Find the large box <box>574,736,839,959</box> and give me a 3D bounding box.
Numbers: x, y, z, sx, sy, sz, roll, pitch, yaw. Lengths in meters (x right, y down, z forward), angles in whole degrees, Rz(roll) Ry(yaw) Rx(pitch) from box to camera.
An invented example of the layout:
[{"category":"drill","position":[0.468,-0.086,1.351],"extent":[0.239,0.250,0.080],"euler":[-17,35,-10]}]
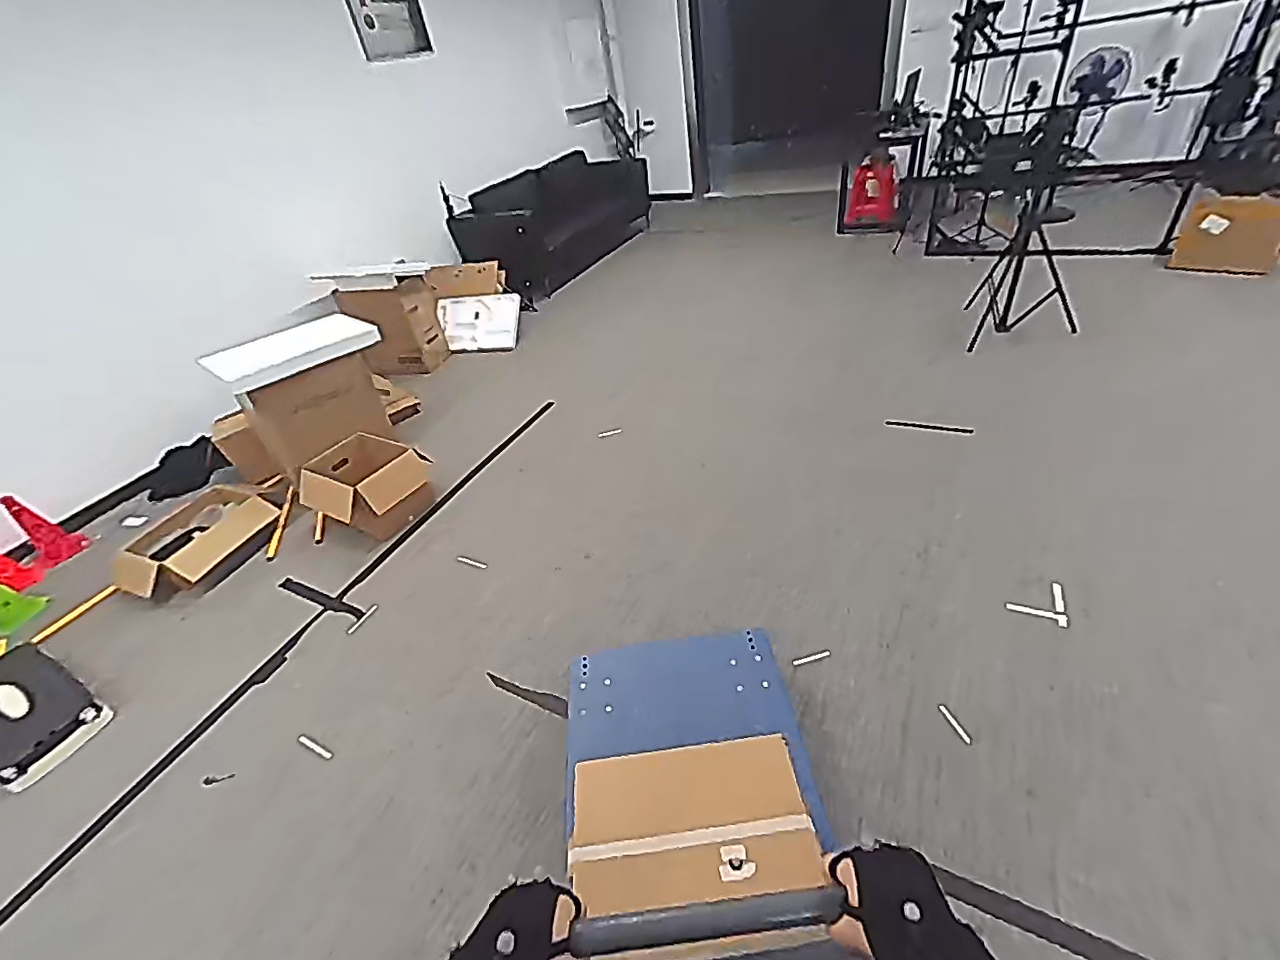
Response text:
[{"category":"large box","position":[0.102,0.727,0.998],"extent":[0.408,0.320,0.320],"euler":[-8,38,0]}]
